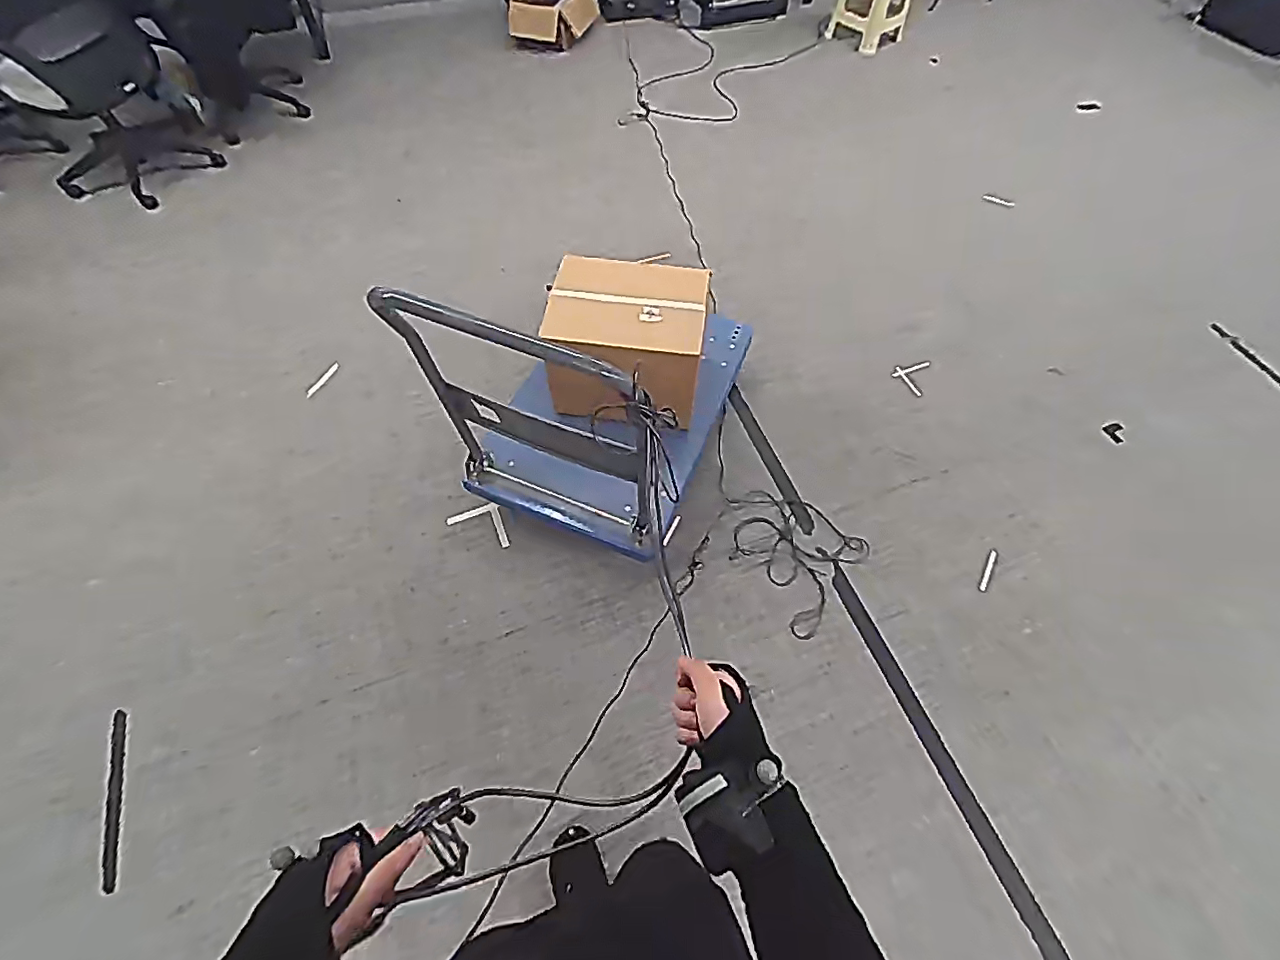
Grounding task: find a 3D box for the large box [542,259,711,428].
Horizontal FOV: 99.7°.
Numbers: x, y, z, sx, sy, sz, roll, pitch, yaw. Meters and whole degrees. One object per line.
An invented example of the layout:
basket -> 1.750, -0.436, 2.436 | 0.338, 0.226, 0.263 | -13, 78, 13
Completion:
large box -> -0.030, -0.371, 1.505 | 0.408, 0.320, 0.320 | 8, 61, 3
